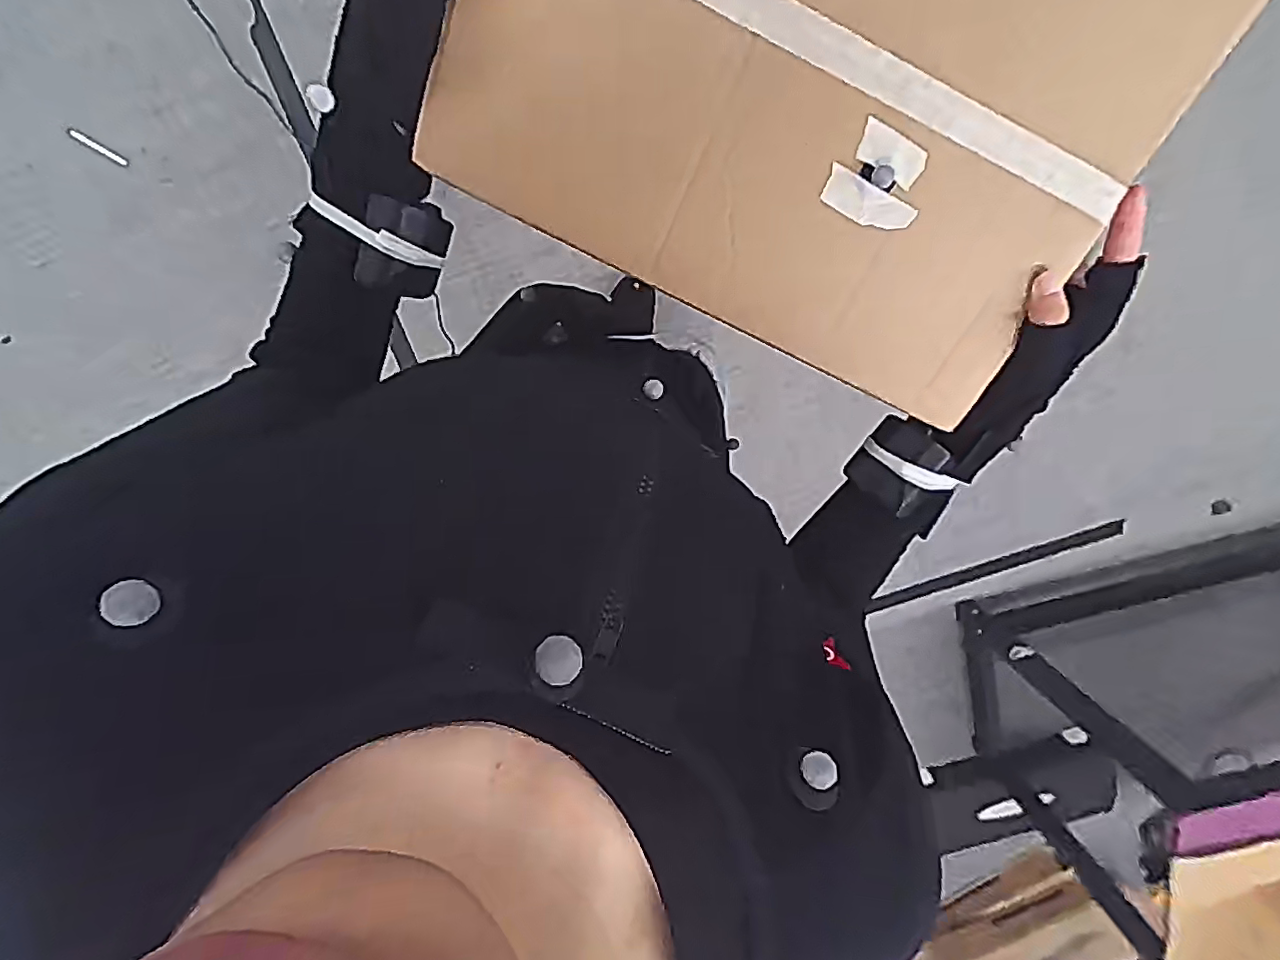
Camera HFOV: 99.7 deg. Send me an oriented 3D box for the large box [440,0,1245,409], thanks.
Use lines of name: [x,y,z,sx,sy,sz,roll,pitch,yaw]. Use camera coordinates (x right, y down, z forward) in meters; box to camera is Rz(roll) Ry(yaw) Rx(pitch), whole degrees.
large box: [0.117,-0.312,0.456,0.408,0.320,0.320,25,113,-7]
